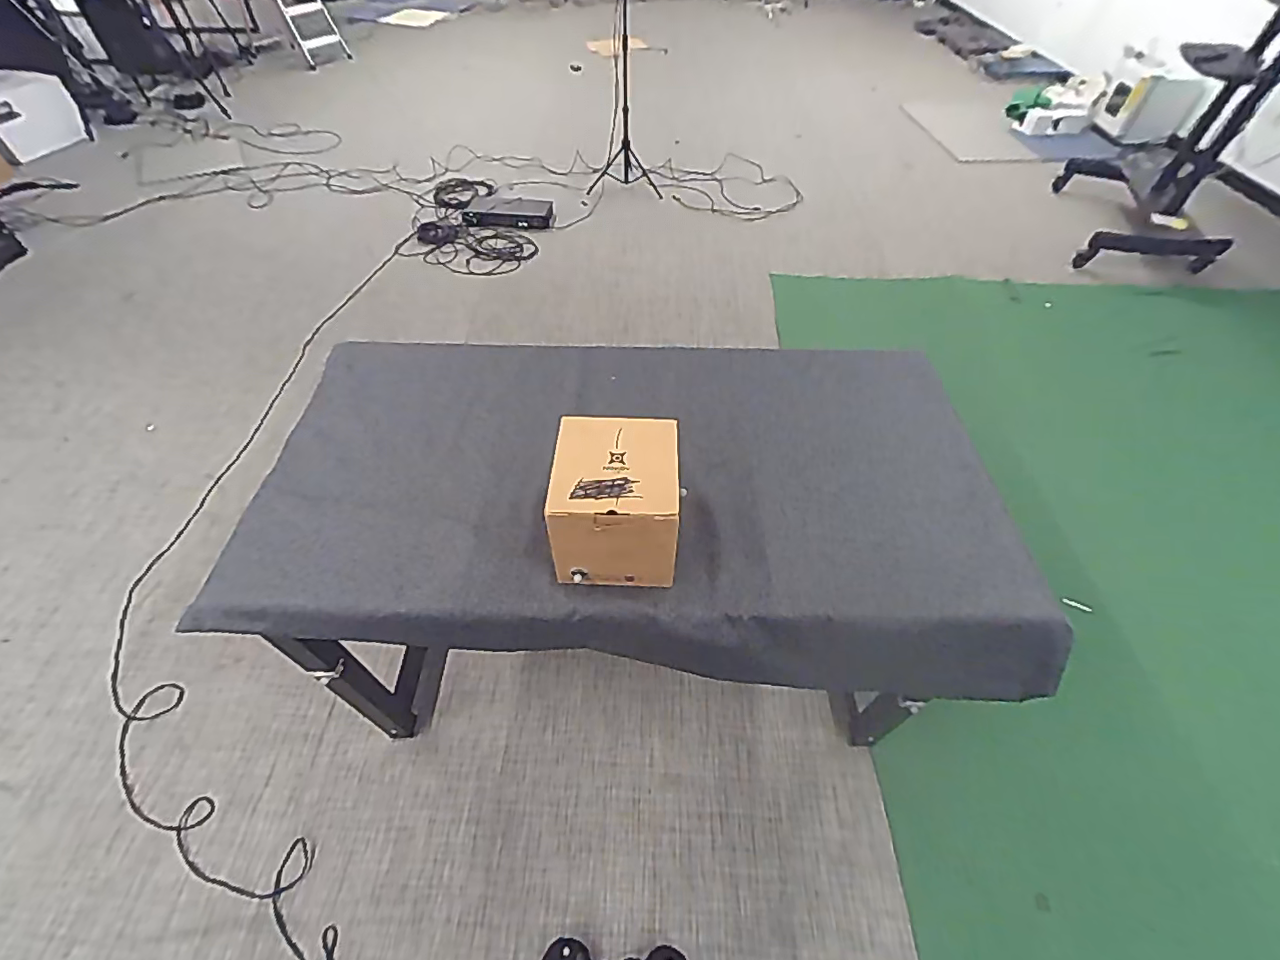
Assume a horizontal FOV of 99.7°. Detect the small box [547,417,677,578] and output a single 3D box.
[{"bbox_3d":[-0.032,0.029,0.789,0.168,0.176,0.179,2,48,1],"label":"small box"}]
